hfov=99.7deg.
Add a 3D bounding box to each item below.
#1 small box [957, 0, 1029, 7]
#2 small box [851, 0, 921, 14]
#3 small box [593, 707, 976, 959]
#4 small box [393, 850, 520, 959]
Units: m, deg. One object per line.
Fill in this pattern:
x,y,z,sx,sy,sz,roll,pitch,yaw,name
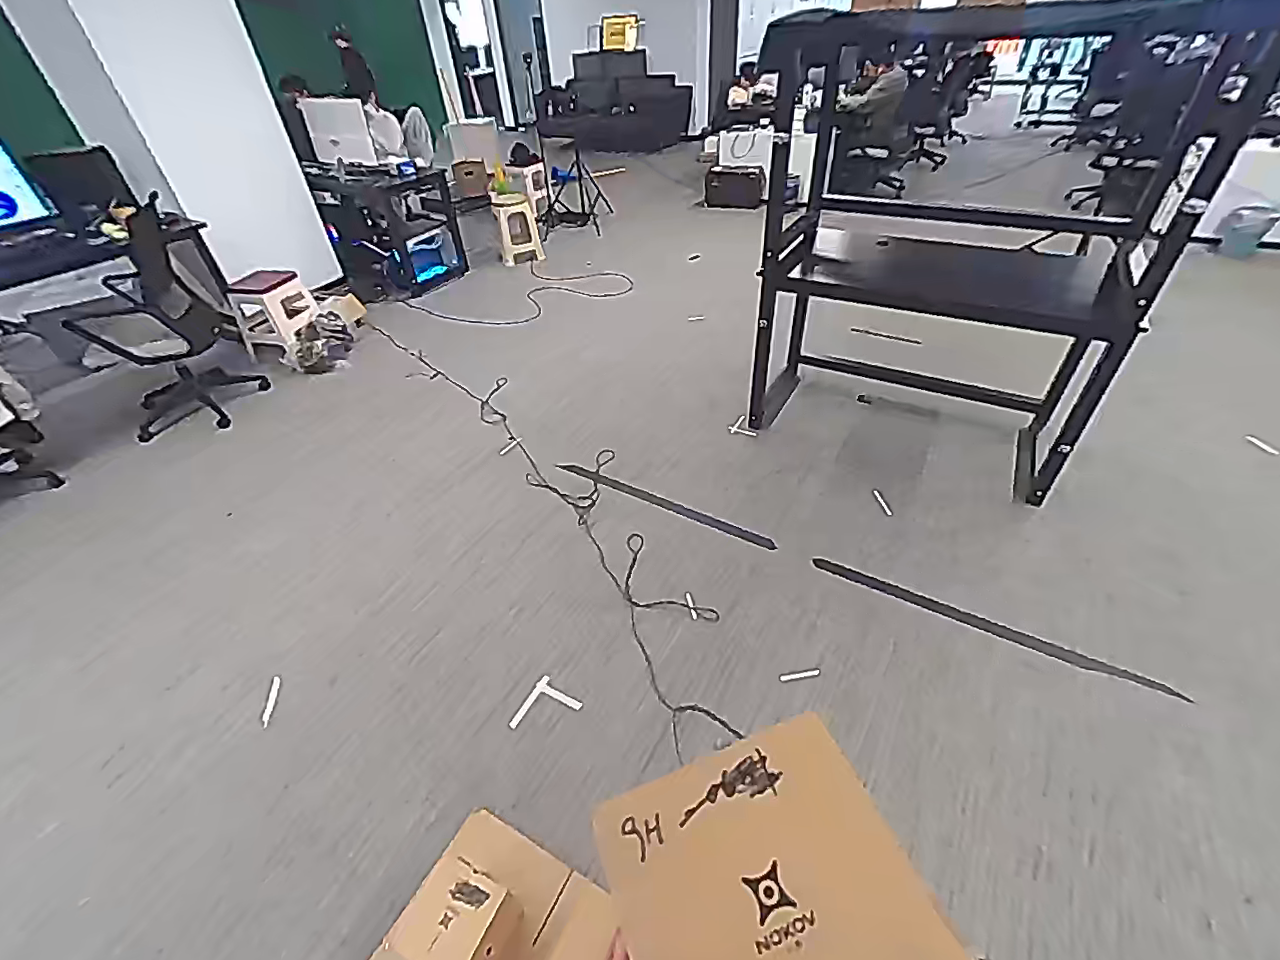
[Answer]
0.939,-1.334,1.391,0.168,0.176,0.179,19,44,25,small box
0.705,-1.414,1.508,0.168,0.176,0.179,19,44,23,small box
0.081,0.287,0.349,0.168,0.176,0.179,-17,46,-12,small box
-0.366,0.922,1.119,0.168,0.176,0.179,15,45,21,small box
